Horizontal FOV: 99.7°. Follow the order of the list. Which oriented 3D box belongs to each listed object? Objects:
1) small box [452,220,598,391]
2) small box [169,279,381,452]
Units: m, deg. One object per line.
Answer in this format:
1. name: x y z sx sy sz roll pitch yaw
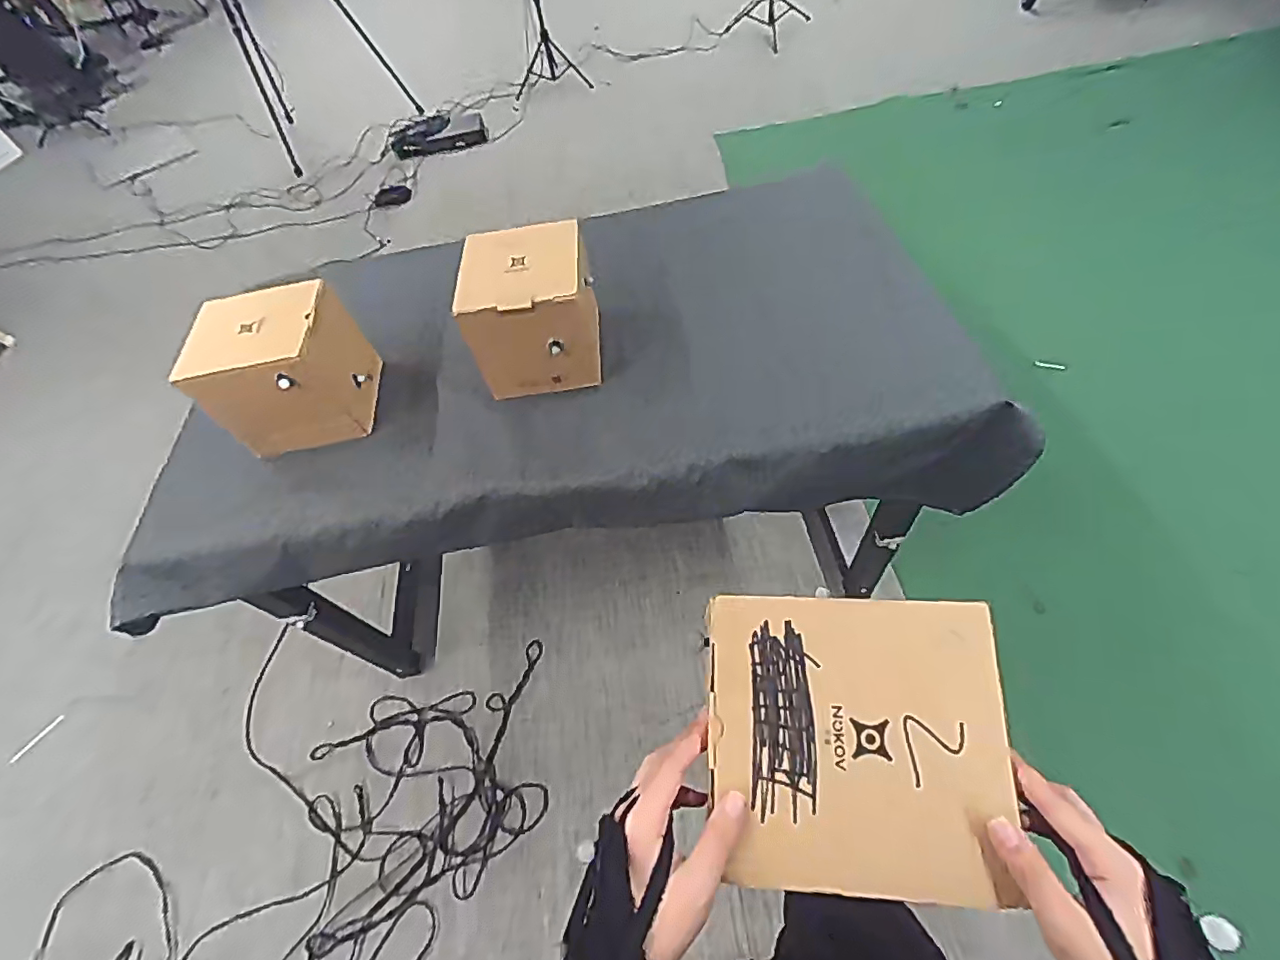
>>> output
1. small box: -0.156 -0.247 0.795 0.168 0.176 0.179 -7 55 3
2. small box: -0.513 -0.160 0.791 0.179 0.176 0.168 -11 56 0
